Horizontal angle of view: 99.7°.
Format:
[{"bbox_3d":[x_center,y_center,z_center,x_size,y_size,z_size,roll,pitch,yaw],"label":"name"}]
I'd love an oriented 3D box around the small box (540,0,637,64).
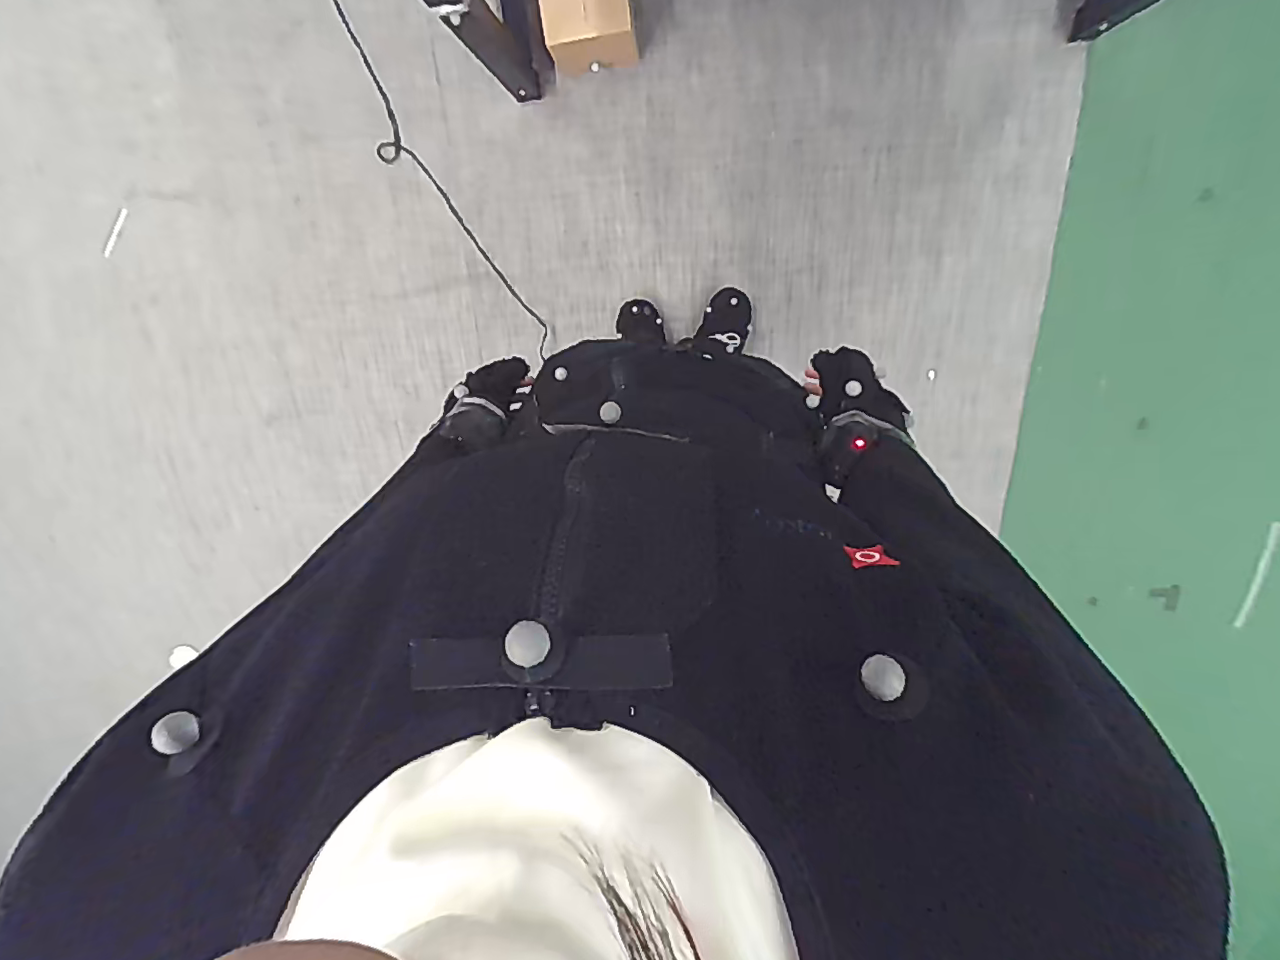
[{"bbox_3d":[-0.101,-0.943,1.037,0.168,0.176,0.179,-5,111,6],"label":"small box"}]
